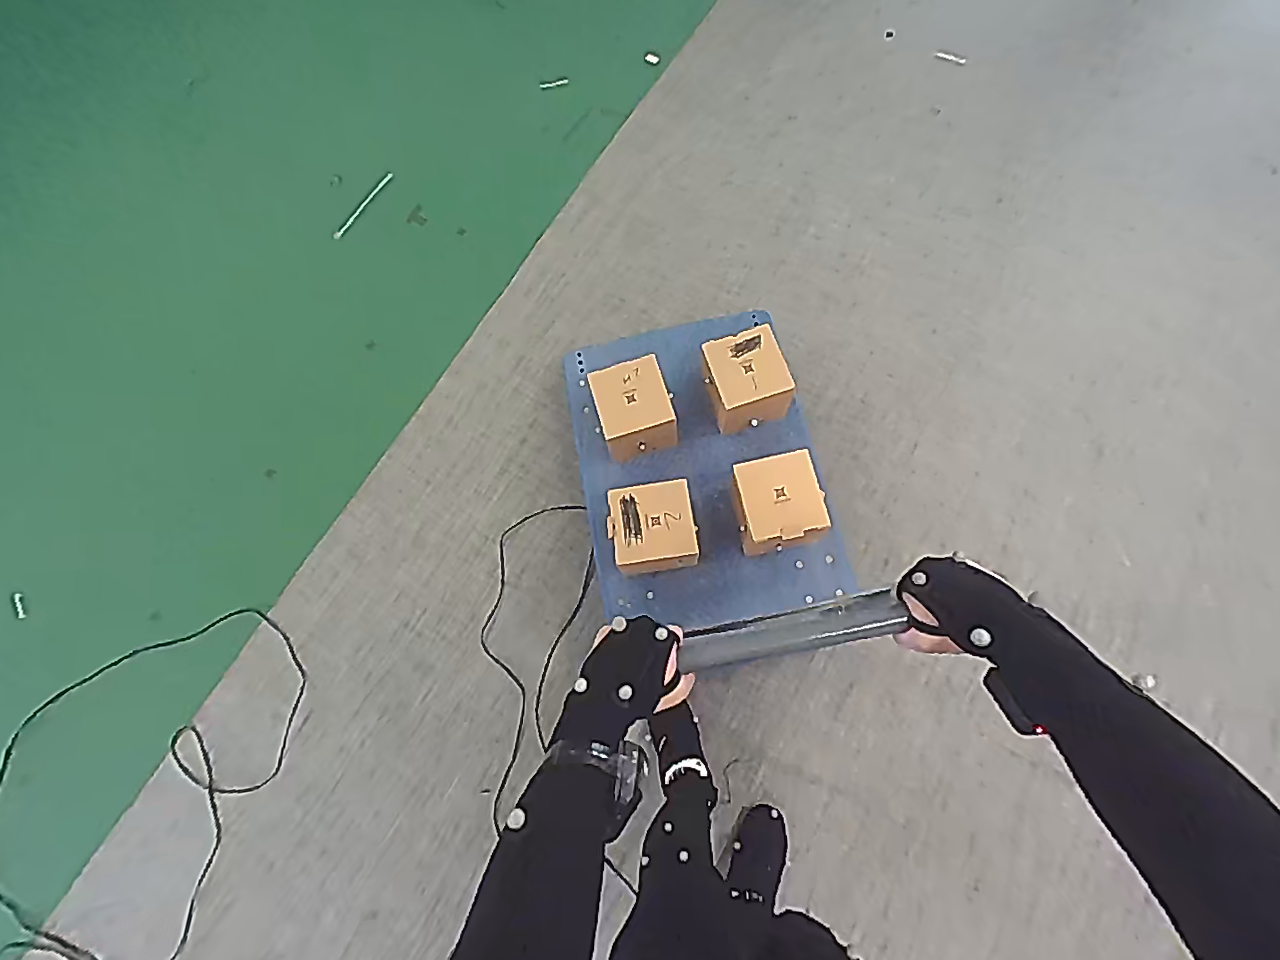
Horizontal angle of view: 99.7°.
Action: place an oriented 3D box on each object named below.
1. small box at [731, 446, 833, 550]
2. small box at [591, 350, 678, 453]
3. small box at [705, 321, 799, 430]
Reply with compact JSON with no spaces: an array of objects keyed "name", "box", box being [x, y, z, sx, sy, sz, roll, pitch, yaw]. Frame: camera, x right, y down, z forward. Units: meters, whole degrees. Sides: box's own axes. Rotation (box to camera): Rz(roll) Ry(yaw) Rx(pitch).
[{"name":"small box","box":[0.306,0.045,1.206,0.168,0.176,0.179,-12,74,1]},{"name":"small box","box":[-0.008,-0.178,1.297,0.168,0.176,0.179,-16,73,-1]},{"name":"small box","box":[0.257,-0.245,1.294,0.168,0.176,0.179,-17,74,0]}]
